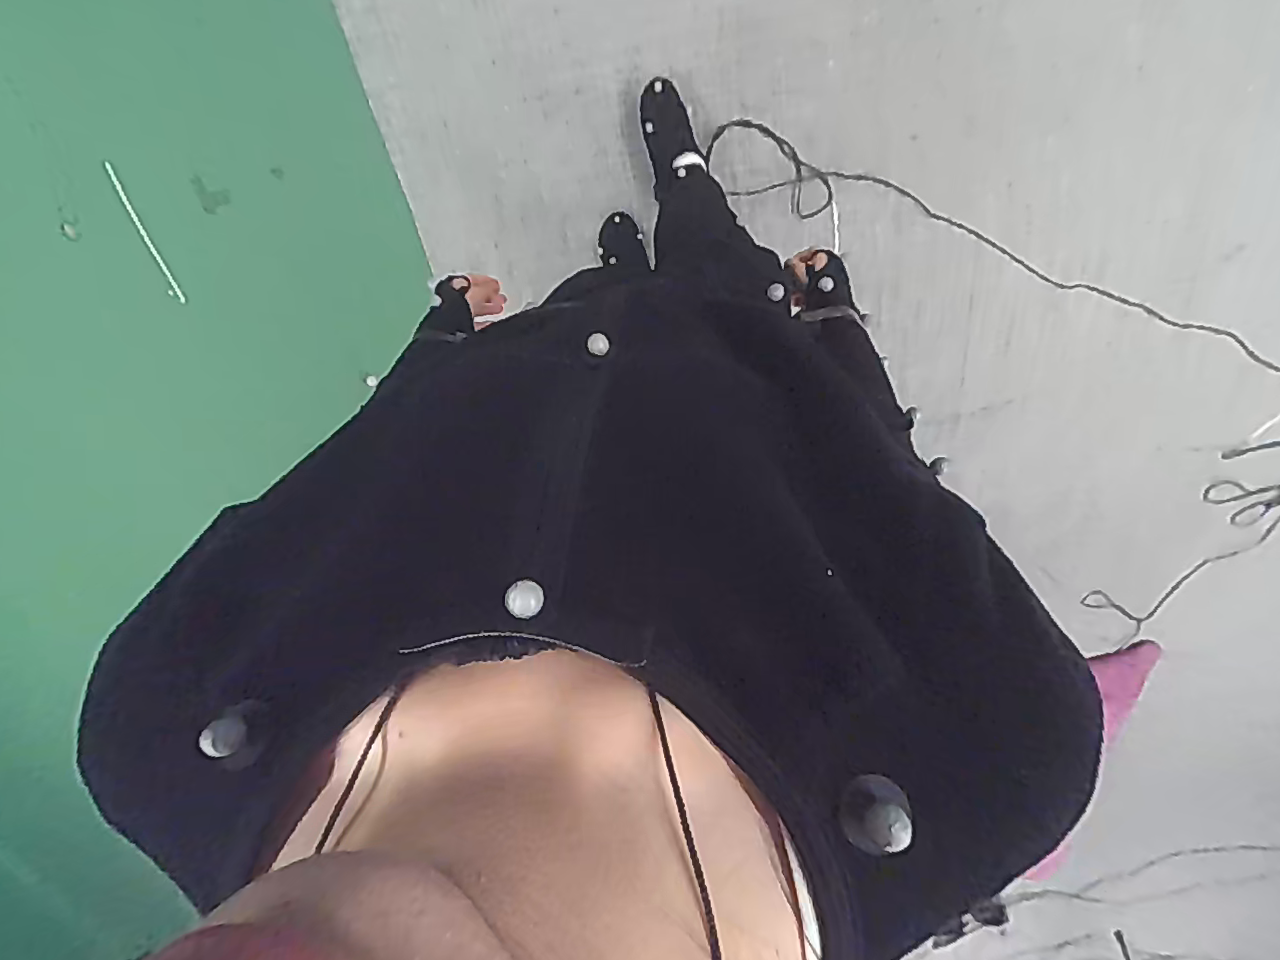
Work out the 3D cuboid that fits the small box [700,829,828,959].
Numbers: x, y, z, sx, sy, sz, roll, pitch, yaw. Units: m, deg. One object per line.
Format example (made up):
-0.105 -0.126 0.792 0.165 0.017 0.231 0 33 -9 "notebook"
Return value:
0.197 0.720 0.917 0.179 0.176 0.168 -2 120 0 "small box"
